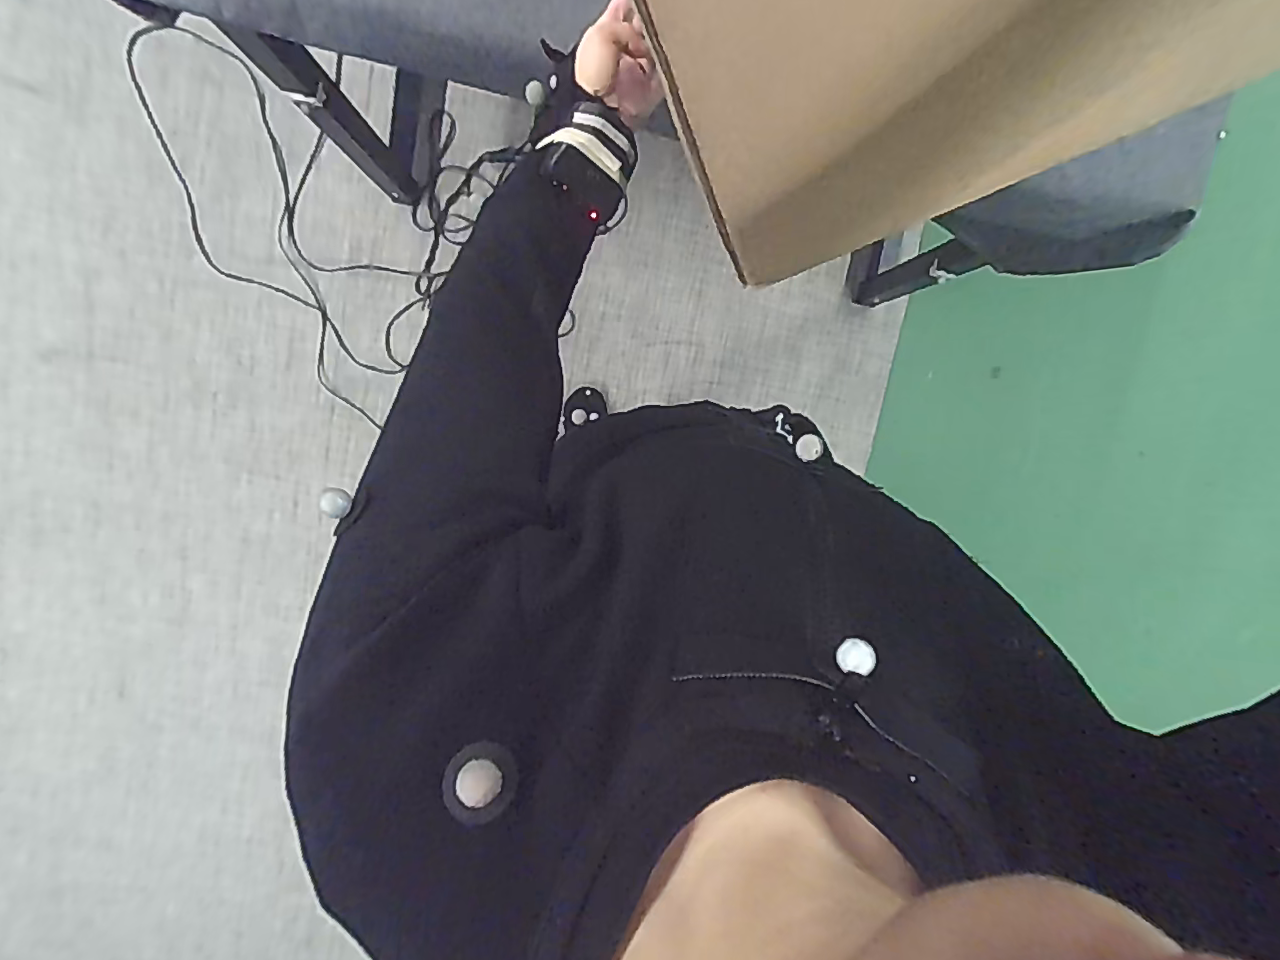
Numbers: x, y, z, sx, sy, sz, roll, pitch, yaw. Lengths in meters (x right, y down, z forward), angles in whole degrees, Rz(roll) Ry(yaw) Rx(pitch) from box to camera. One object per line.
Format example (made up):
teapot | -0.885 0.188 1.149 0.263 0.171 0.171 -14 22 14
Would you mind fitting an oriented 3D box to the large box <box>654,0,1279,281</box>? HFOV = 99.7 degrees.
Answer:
large box | 0.167 -0.357 0.203 0.408 0.320 0.320 -21 71 18
